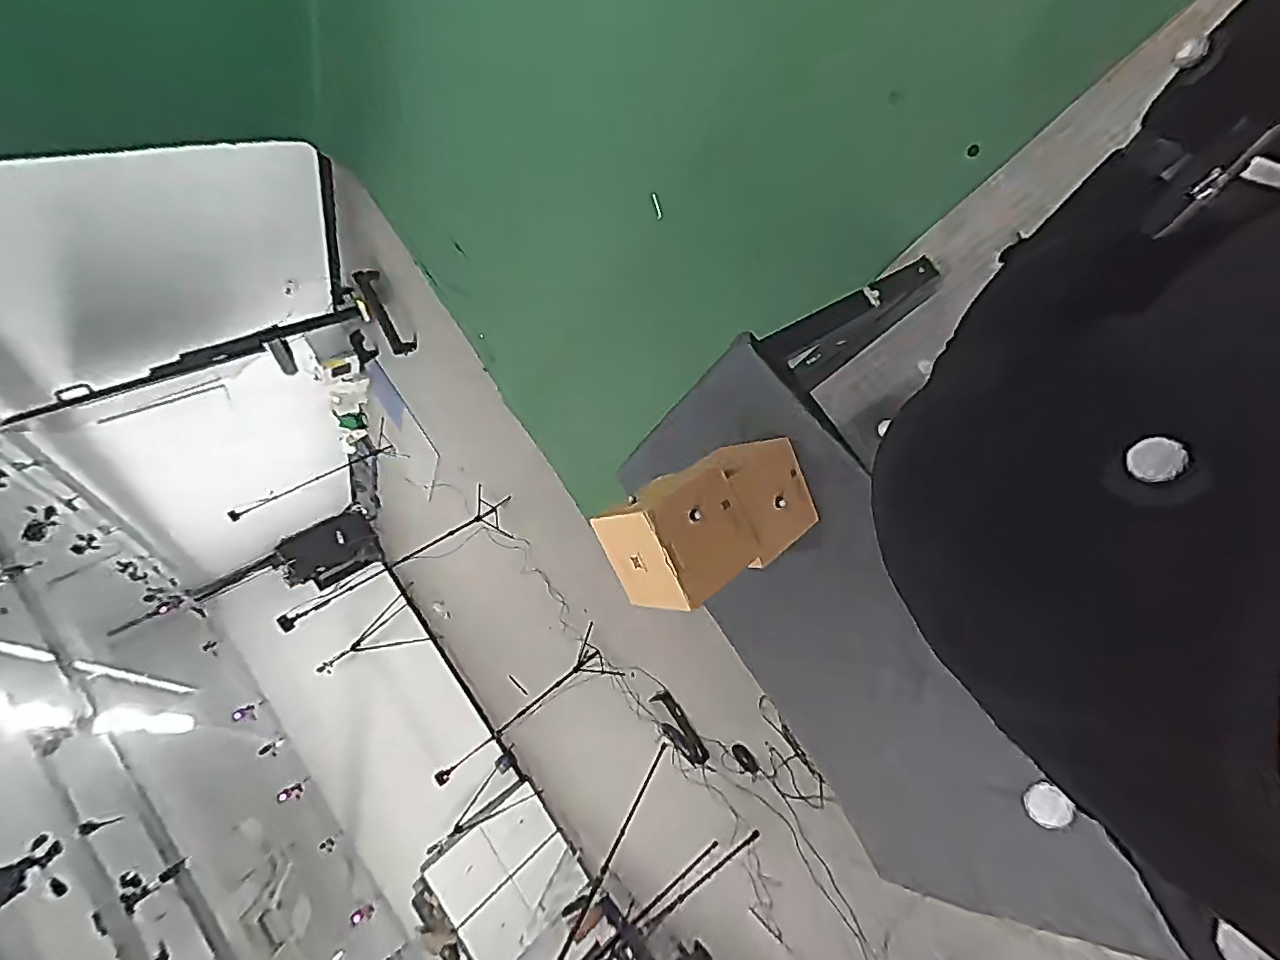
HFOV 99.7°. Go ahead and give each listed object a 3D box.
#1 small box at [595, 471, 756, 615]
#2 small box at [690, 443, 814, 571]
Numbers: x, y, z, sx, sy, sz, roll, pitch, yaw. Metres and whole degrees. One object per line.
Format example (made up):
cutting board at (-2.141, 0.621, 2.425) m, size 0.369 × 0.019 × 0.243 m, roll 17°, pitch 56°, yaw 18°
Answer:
small box at (0.063, 0.097, 0.874) m, size 0.179 × 0.176 × 0.168 m, roll -15°, pitch 103°, yaw 58°
small box at (0.186, 0.045, 0.969) m, size 0.179 × 0.176 × 0.168 m, roll -6°, pitch 111°, yaw 56°
